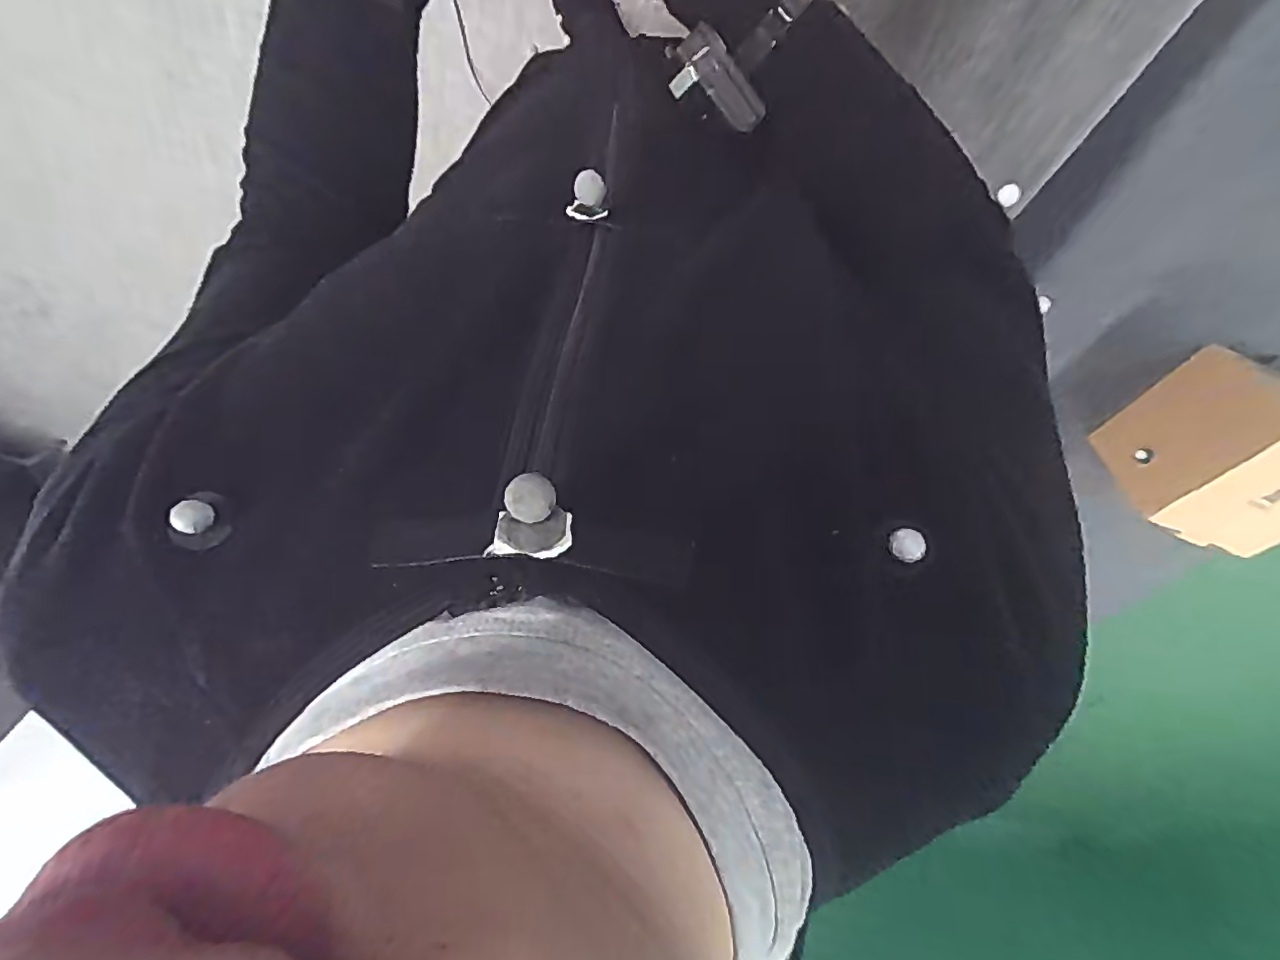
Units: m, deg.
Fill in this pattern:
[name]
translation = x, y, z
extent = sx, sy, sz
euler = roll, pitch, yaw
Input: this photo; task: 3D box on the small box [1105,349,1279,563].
[small box]
translation = 0.746, -0.030, 0.682
extent = 0.168, 0.176, 0.179
euler = 19, 133, -8
